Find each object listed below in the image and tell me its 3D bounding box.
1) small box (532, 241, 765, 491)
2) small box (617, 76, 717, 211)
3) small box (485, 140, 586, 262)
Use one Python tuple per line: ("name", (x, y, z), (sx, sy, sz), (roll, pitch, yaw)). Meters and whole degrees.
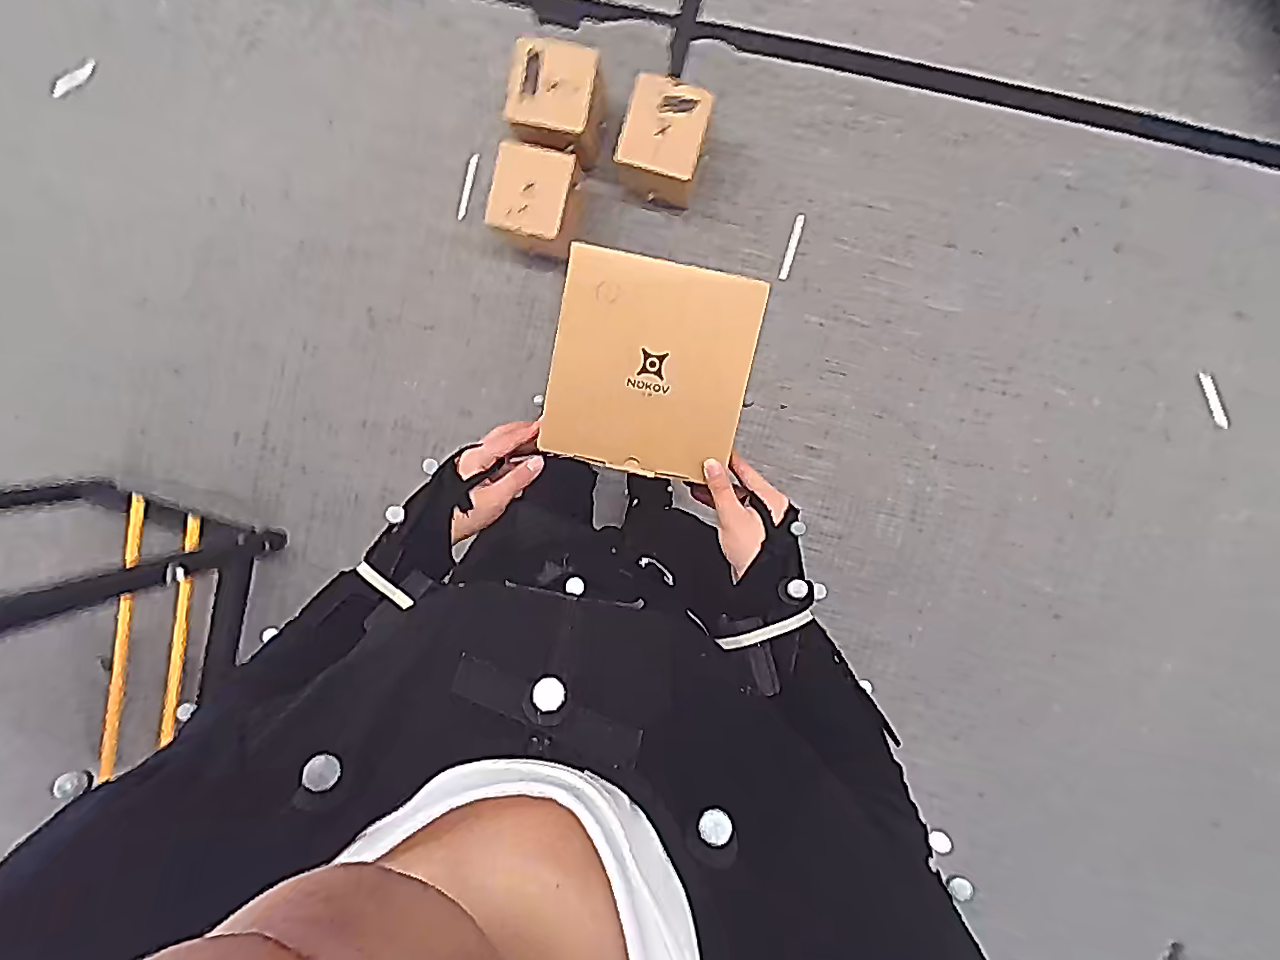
("small box", (0.003, -0.104, 0.520), (0.168, 0.176, 0.179), (11, 101, -3))
("small box", (0.059, -0.732, 1.193), (0.168, 0.176, 0.179), (18, 98, 3))
("small box", (-0.228, -0.623, 1.227), (0.168, 0.176, 0.179), (15, 97, 3))
